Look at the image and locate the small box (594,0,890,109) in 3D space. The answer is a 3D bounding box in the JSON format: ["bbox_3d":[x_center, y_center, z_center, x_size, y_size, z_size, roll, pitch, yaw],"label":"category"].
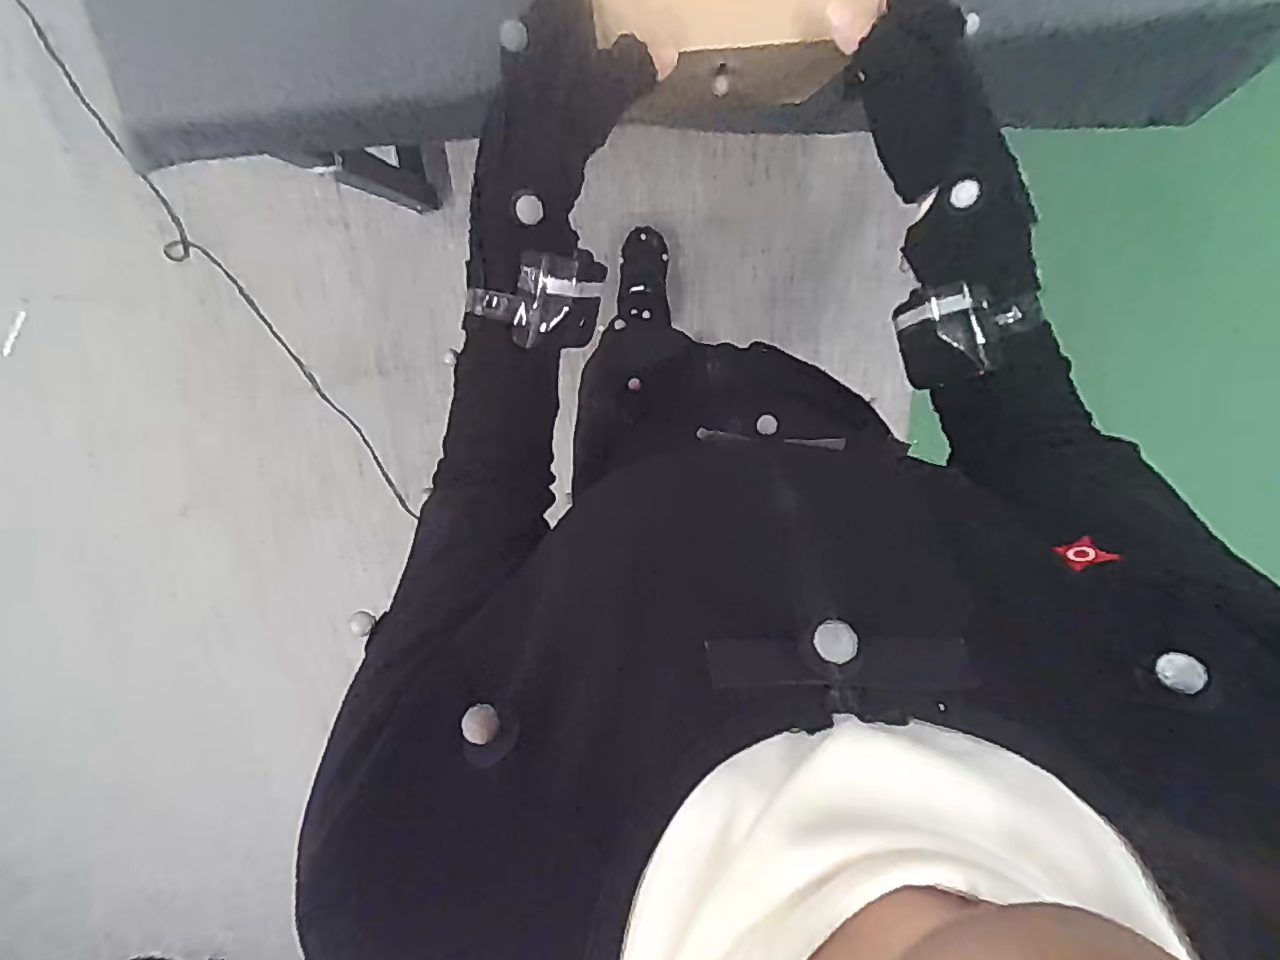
[{"bbox_3d":[0.054,-0.371,0.367,0.179,0.176,0.168,-6,115,0],"label":"small box"}]
